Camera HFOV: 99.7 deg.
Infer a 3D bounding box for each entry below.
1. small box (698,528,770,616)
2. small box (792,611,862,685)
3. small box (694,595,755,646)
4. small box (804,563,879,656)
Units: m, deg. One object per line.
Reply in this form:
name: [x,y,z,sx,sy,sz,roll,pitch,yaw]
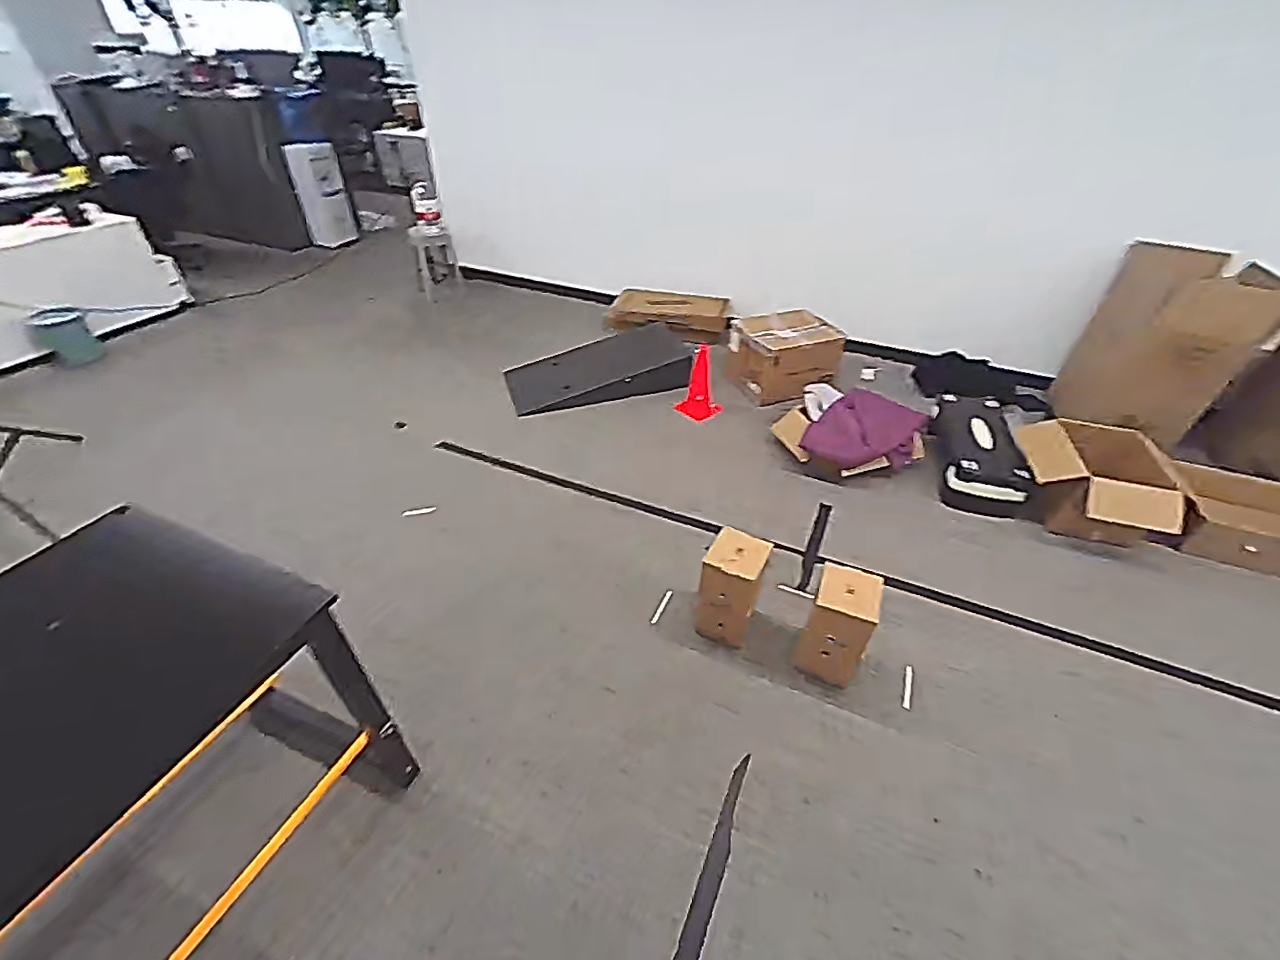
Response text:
small box: [0.287,0.285,1.679,0.168,0.176,0.179,19,43,22]
small box: [0.588,0.506,1.683,0.179,0.176,0.168,19,43,19]
small box: [0.281,0.415,1.782,0.168,0.176,0.179,16,42,17]
small box: [0.587,0.378,1.583,0.168,0.176,0.179,14,42,17]
